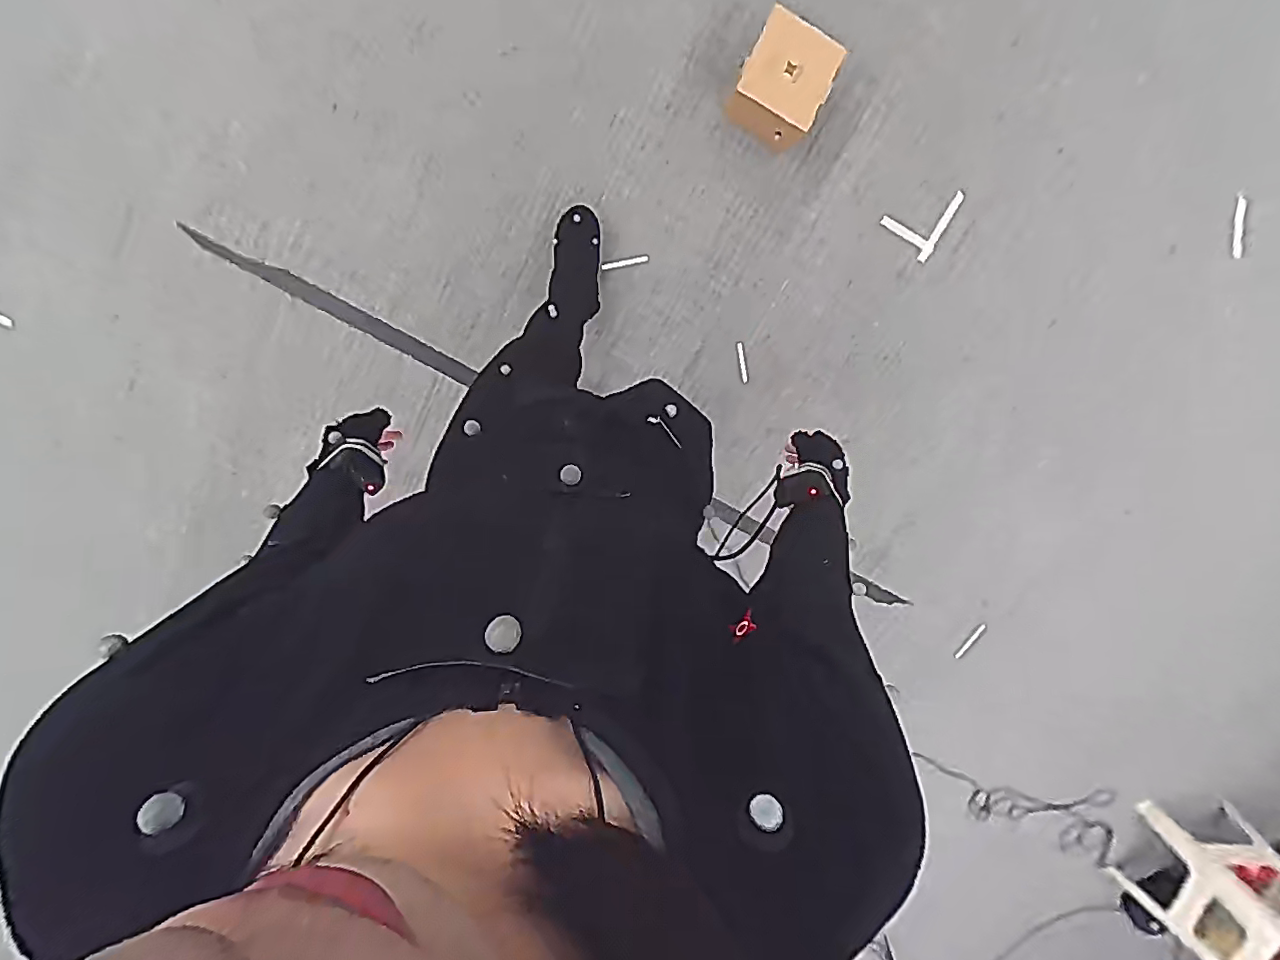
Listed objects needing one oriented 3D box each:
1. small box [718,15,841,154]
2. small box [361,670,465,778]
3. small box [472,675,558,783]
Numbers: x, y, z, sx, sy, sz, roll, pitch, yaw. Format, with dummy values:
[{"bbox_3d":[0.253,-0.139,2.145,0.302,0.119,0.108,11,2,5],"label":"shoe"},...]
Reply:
[{"bbox_3d":[0.295,-0.846,1.183,0.179,0.176,0.168,24,105,-10],"label":"small box"},{"bbox_3d":[-0.591,0.637,1.431,0.179,0.176,0.168,29,105,-12],"label":"small box"},{"bbox_3d":[-0.329,0.665,1.457,0.168,0.176,0.179,23,107,-11],"label":"small box"}]
